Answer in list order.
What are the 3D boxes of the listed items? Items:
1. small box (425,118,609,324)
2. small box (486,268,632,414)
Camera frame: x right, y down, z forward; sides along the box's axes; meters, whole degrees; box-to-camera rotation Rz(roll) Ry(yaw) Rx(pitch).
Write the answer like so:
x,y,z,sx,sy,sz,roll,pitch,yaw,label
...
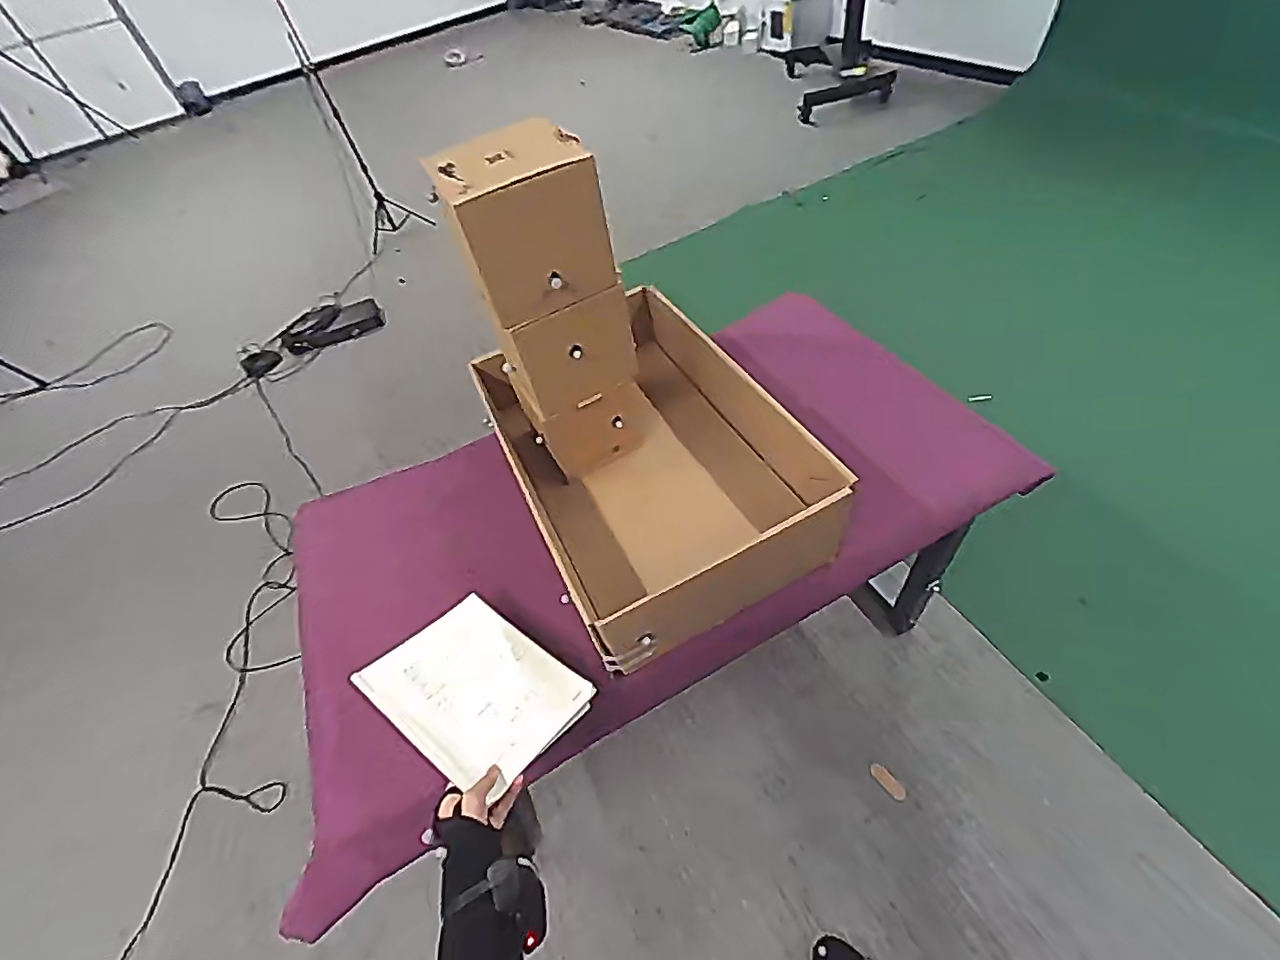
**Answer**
x,y,z,sx,sy,sz,roll,pitch,yaw,label
-0.151,-0.338,0.711,0.179,0.176,0.168,-26,52,-12,small box
-0.124,-0.236,0.837,0.179,0.176,0.168,-28,53,-12,small box
